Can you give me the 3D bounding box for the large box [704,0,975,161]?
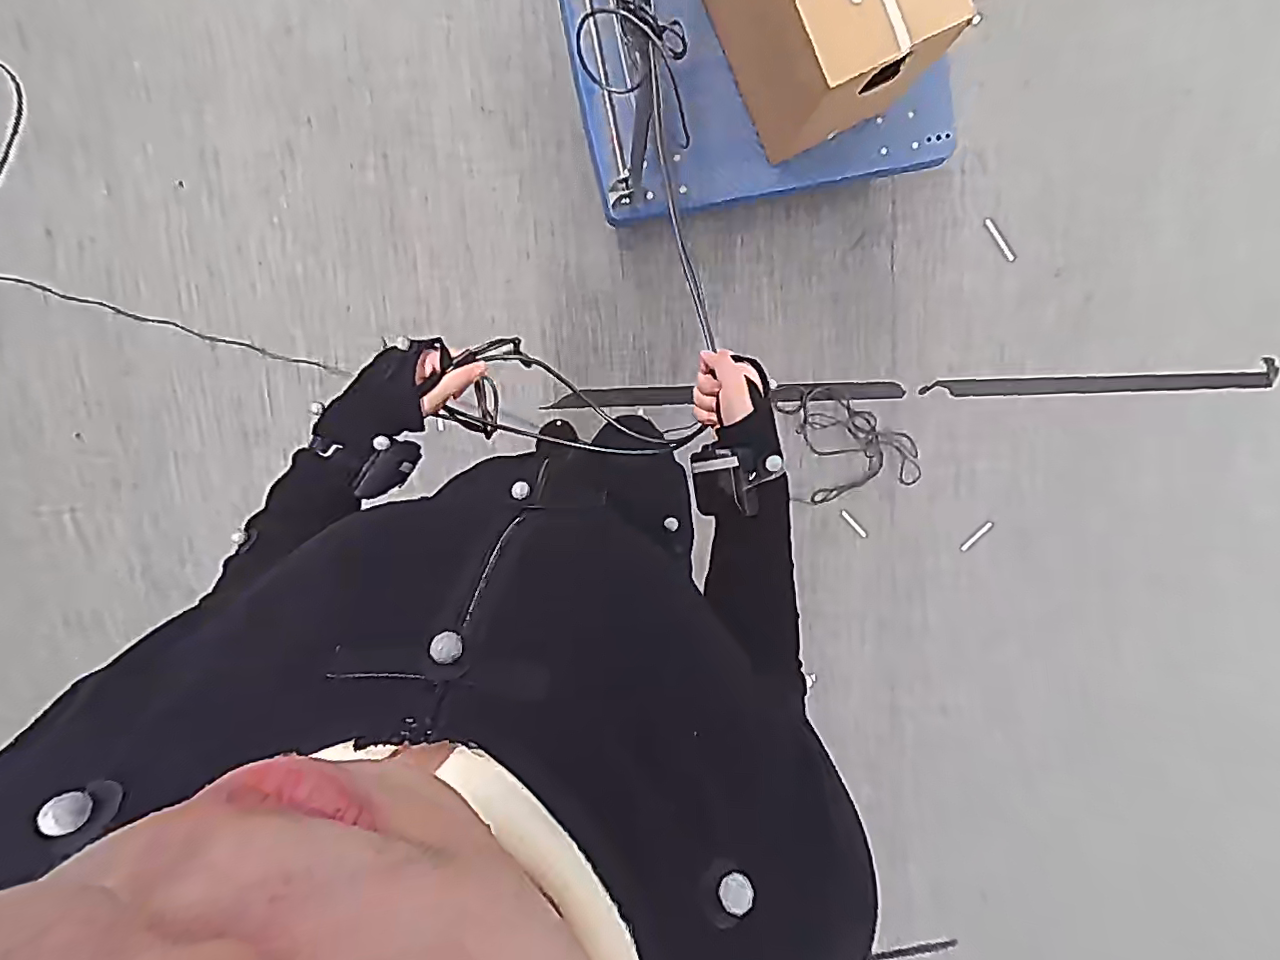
[{"bbox_3d":[0.371,-0.965,1.093,0.320,0.320,0.408,-27,100,-1],"label":"large box"}]
